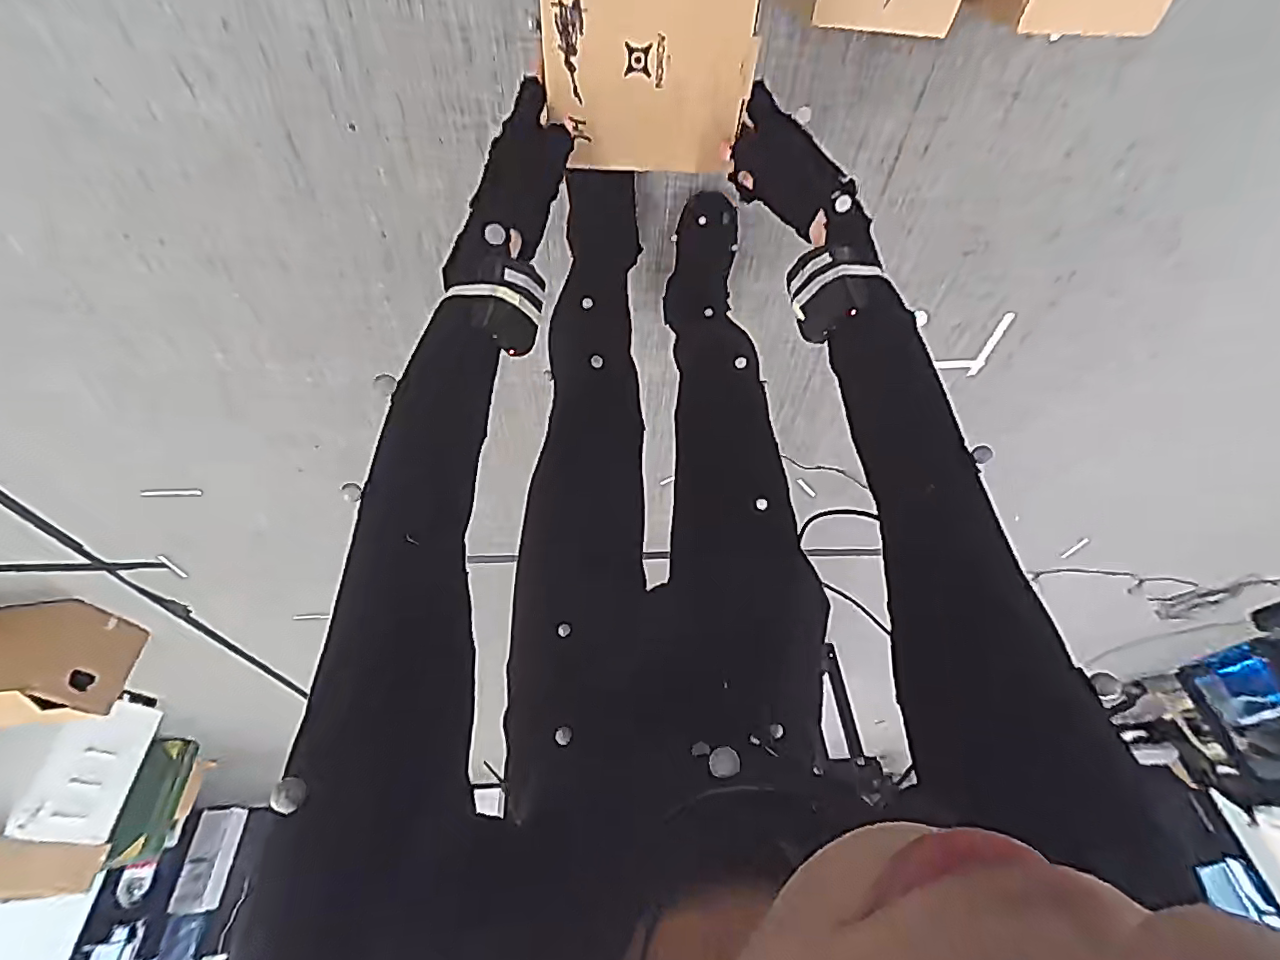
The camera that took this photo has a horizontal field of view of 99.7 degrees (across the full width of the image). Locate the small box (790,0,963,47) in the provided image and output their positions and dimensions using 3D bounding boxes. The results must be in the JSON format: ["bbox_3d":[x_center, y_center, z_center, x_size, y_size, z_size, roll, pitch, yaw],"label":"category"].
[{"bbox_3d":[0.275,-0.623,0.603,0.168,0.176,0.179,1,143,-5],"label":"small box"}]

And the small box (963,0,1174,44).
[{"bbox_3d":[0.513,-0.629,0.619,0.179,0.176,0.168,-2,144,-4],"label":"small box"}]

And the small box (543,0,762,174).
[{"bbox_3d":[0.001,-0.409,0.507,0.179,0.176,0.168,0,138,-5],"label":"small box"}]
